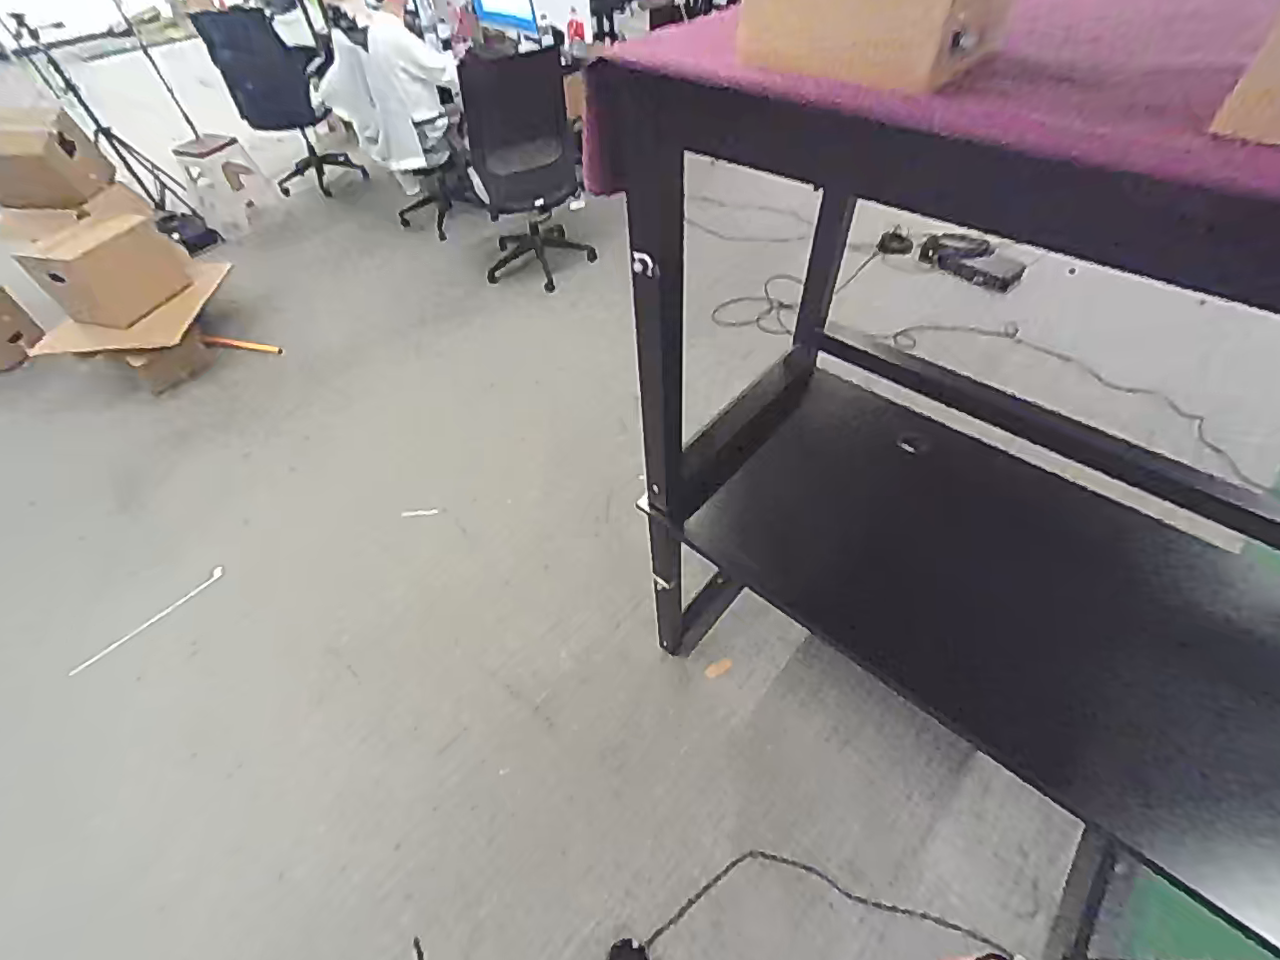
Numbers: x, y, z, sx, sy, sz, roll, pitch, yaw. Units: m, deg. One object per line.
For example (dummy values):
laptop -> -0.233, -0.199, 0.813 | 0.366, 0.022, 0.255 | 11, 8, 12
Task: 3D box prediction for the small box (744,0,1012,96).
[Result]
small box -> 0.202, -0.431, 0.431 | 0.179, 0.176, 0.168 | 31, 58, 27
